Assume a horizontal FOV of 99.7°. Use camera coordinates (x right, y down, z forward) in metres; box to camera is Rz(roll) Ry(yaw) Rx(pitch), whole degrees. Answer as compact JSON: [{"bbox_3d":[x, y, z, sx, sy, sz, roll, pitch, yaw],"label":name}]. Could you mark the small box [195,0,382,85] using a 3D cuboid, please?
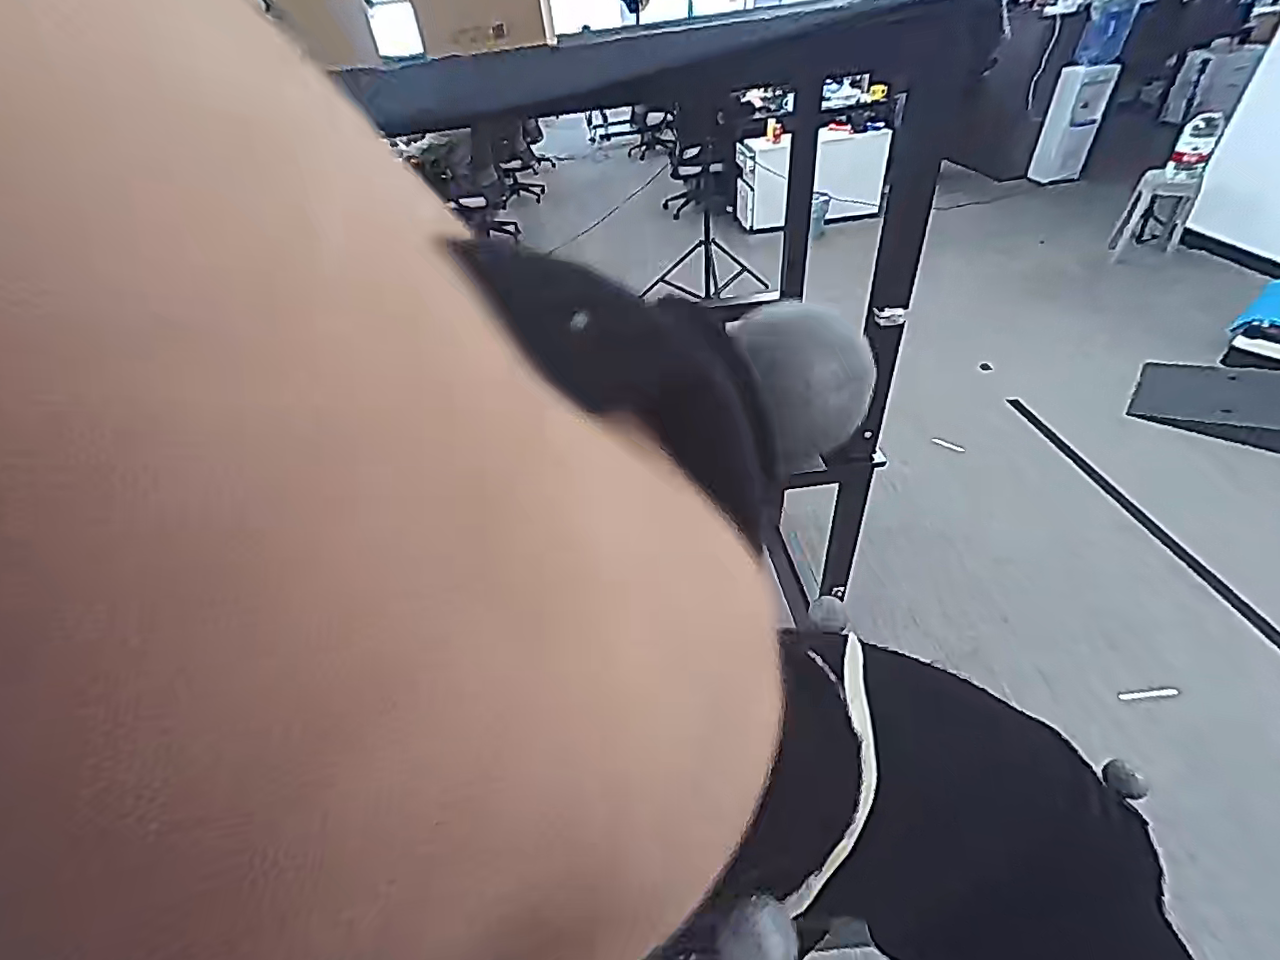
[{"bbox_3d":[-0.468,-0.637,0.717,0.168,0.176,0.179,-9,40,-3],"label":"small box"}]
